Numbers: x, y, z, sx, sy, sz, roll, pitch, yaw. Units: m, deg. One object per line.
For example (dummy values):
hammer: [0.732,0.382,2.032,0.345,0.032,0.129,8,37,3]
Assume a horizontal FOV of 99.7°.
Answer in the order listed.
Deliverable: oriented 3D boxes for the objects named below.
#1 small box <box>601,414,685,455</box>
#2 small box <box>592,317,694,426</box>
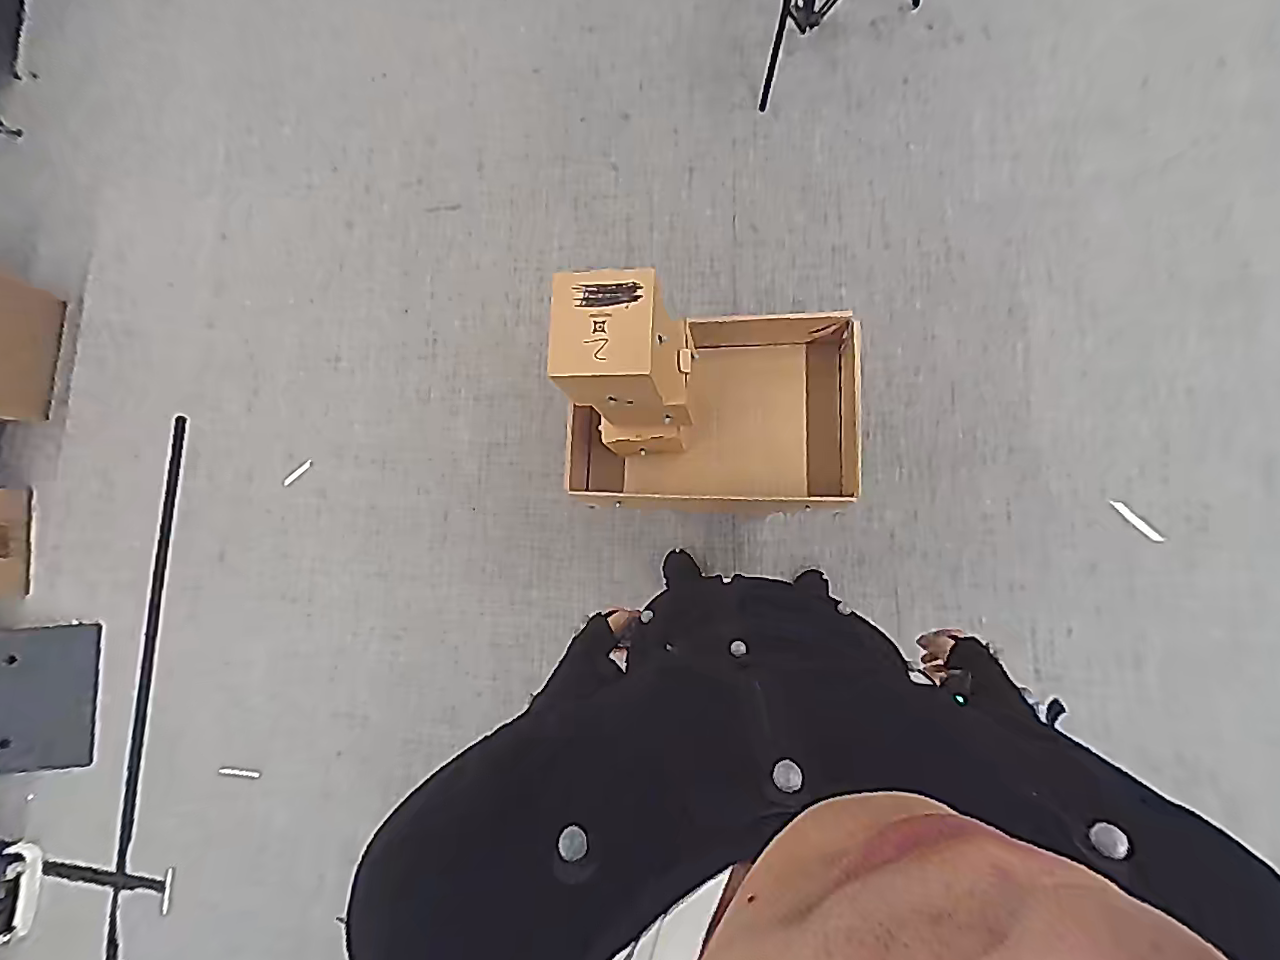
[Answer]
small box: [0.010,-0.162,1.221,0.168,0.176,0.179,-4,82,10]
small box: [0.013,-0.205,1.059,0.179,0.176,0.168,0,82,10]
